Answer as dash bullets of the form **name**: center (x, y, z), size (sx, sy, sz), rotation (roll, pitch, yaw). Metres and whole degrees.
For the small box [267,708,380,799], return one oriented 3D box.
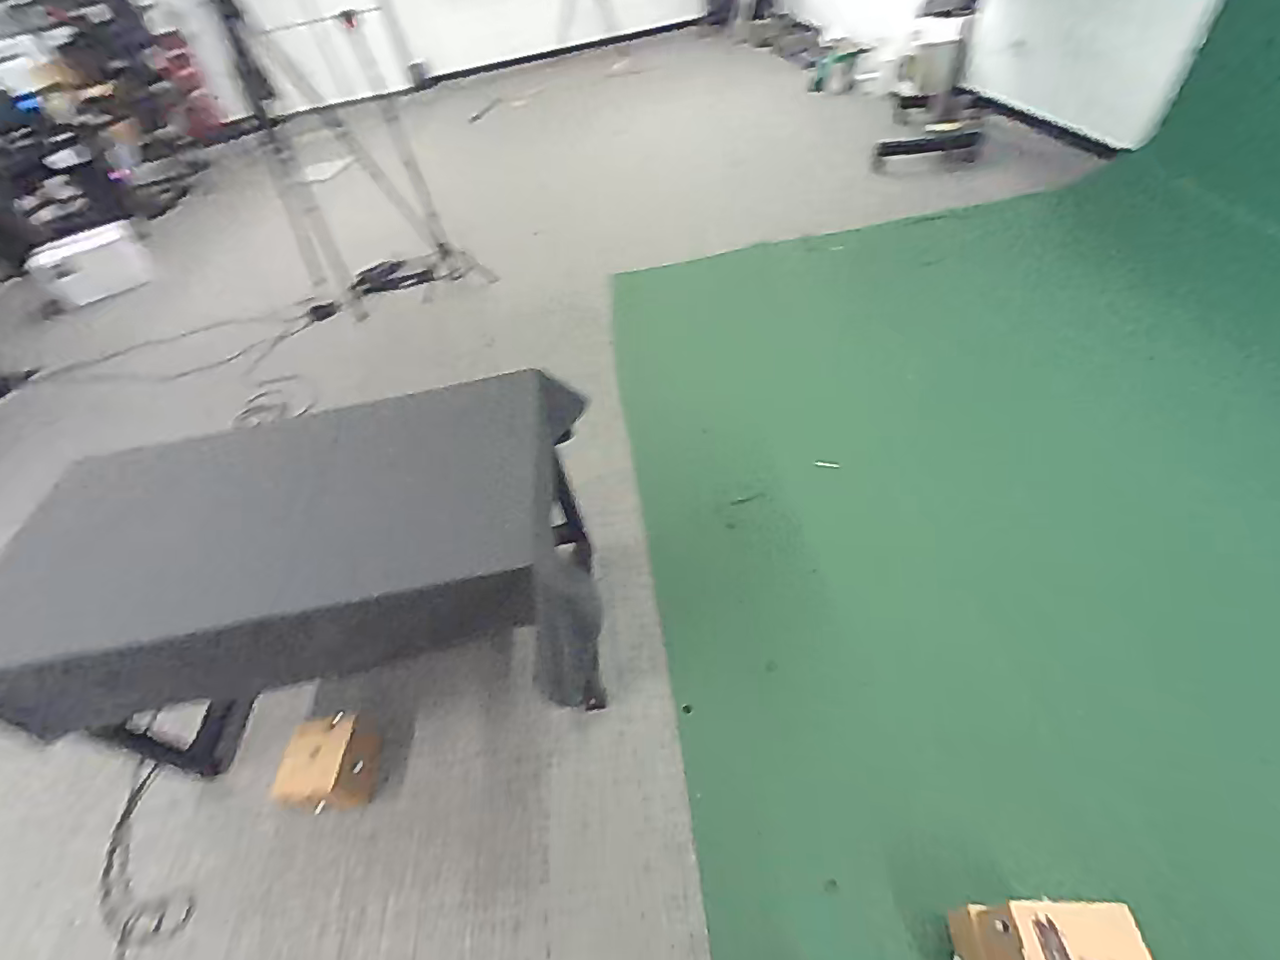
- **small box**: center (-0.811, 0.718, 1.410), size (0.168, 0.176, 0.179), rotation (-7, 47, 5)

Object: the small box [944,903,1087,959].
- **small box**: center (0.681, 0.882, 0.974), size (0.179, 0.176, 0.168), rotation (-3, 47, 10)
